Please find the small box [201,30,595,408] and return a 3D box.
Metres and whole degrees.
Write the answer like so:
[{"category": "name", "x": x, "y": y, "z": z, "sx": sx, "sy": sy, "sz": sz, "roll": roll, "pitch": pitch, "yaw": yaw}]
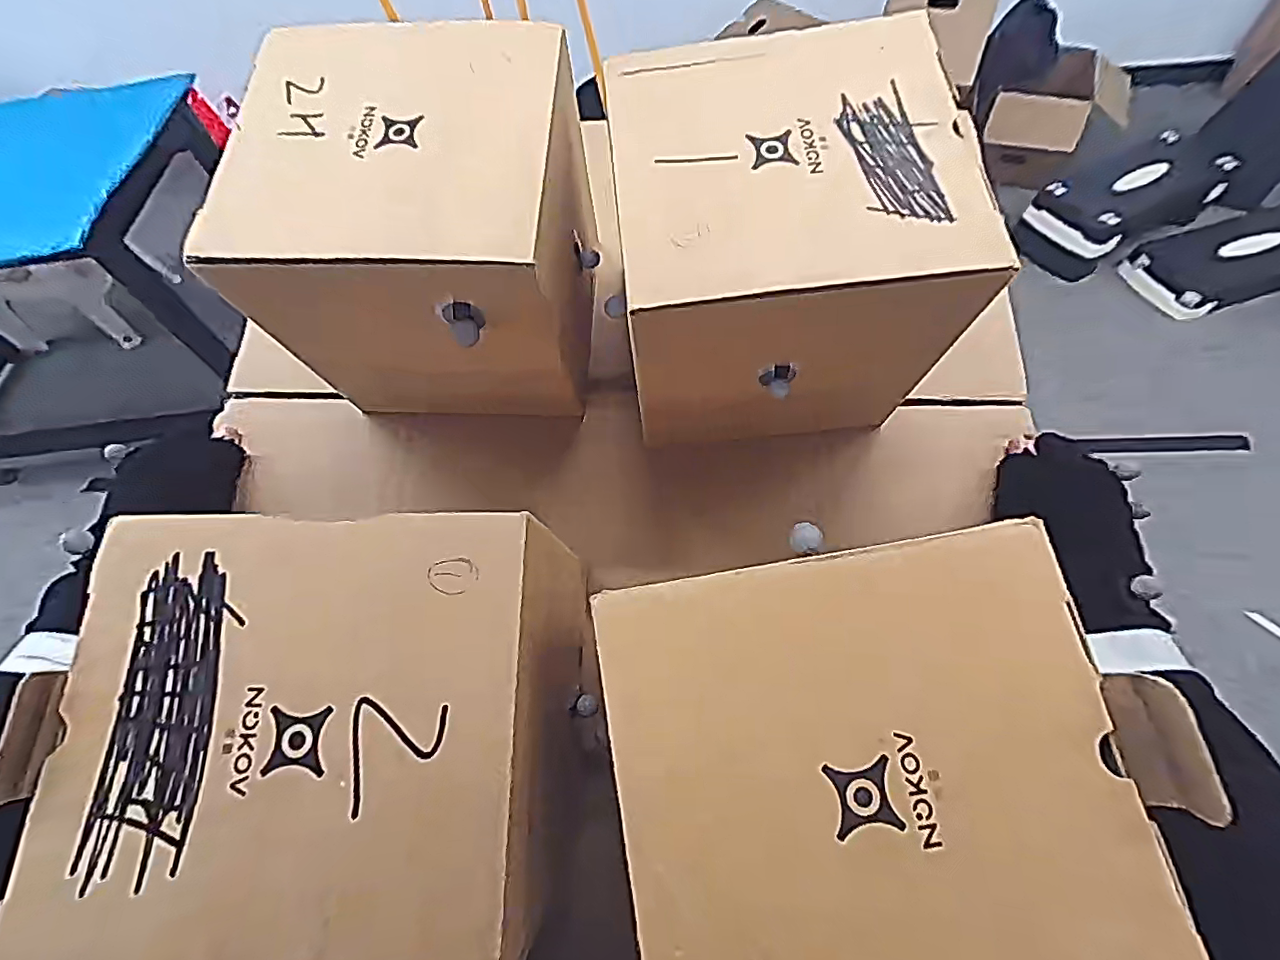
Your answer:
[{"category": "small box", "x": -0.130, "y": -0.159, "z": 0.370, "sx": 0.179, "sy": 0.176, "sz": 0.168, "roll": 3, "pitch": 71, "yaw": 4}]
